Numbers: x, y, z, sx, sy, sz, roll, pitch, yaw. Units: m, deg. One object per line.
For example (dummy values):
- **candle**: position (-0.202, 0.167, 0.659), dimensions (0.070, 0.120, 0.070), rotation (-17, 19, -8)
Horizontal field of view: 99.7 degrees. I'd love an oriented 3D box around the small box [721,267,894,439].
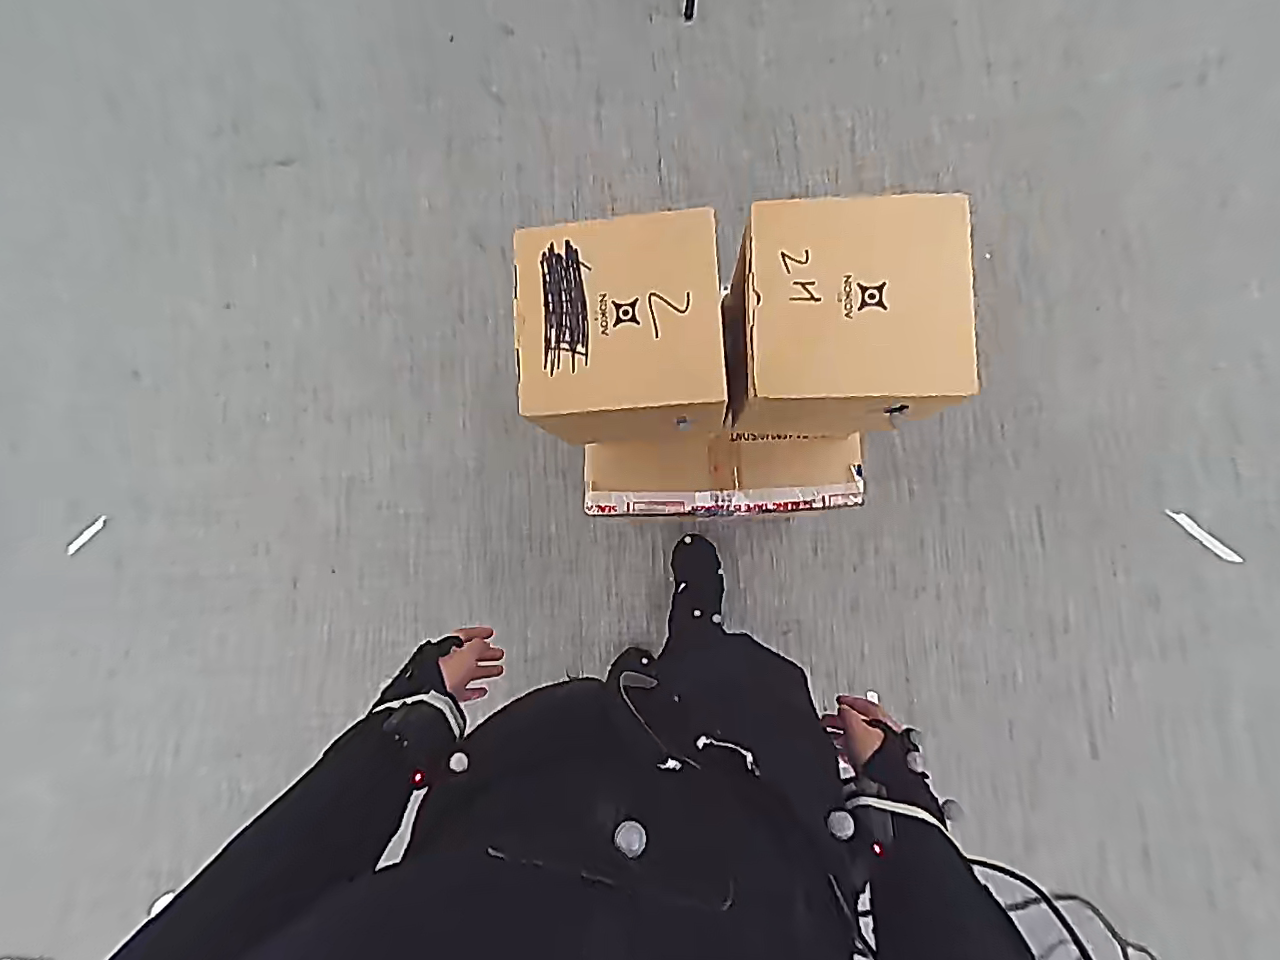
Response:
- **small box**: position (0.195, -0.147, 0.675), dimensions (0.179, 0.176, 0.168), rotation (3, 85, 4)
